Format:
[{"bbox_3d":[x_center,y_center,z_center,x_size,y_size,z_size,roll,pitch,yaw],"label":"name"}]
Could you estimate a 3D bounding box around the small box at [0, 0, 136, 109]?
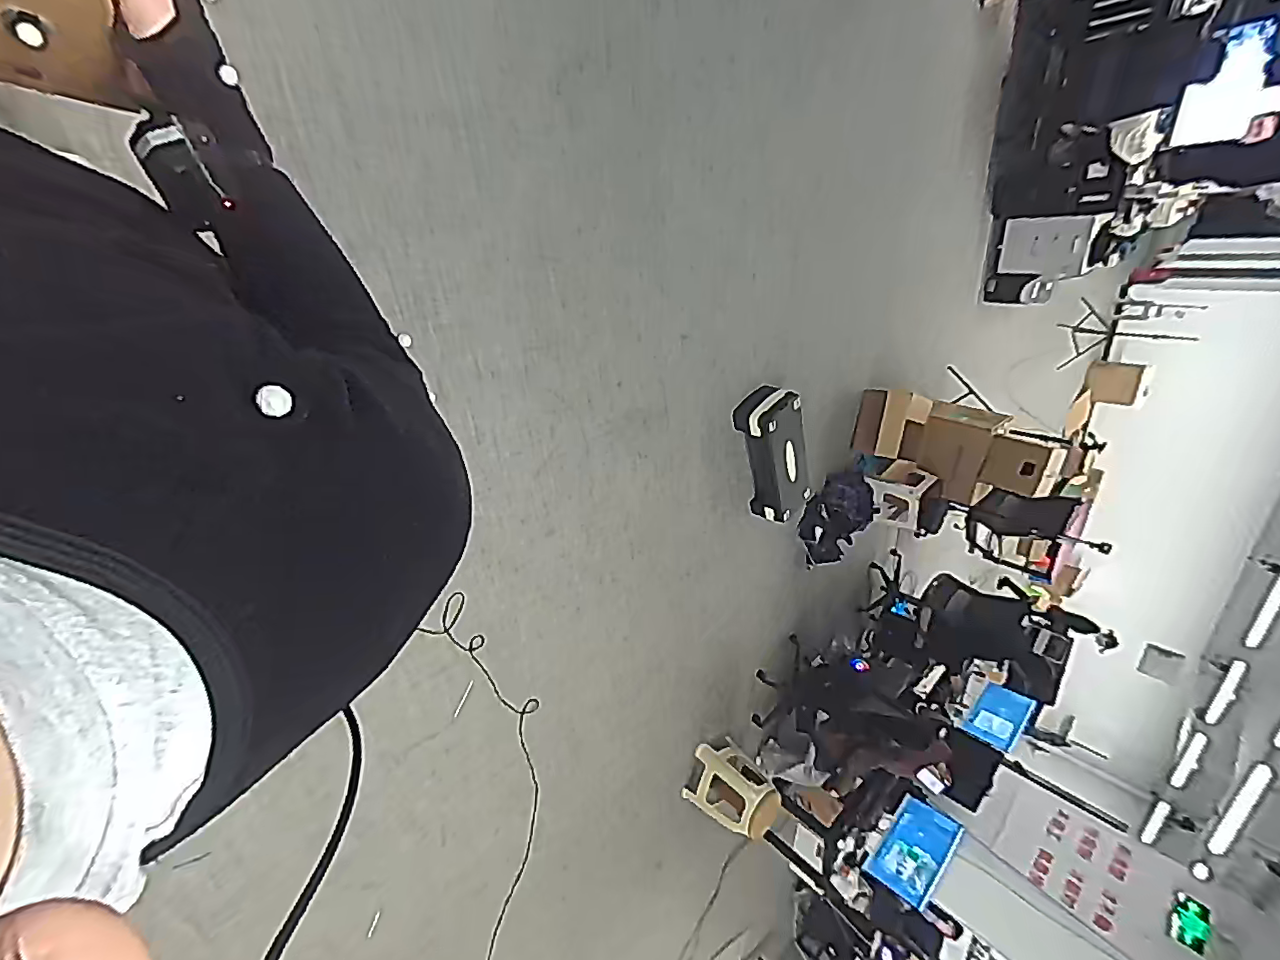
[{"bbox_3d":[-0.442,-0.383,0.338,0.168,0.176,0.179,-5,91,-38],"label":"small box"}]
